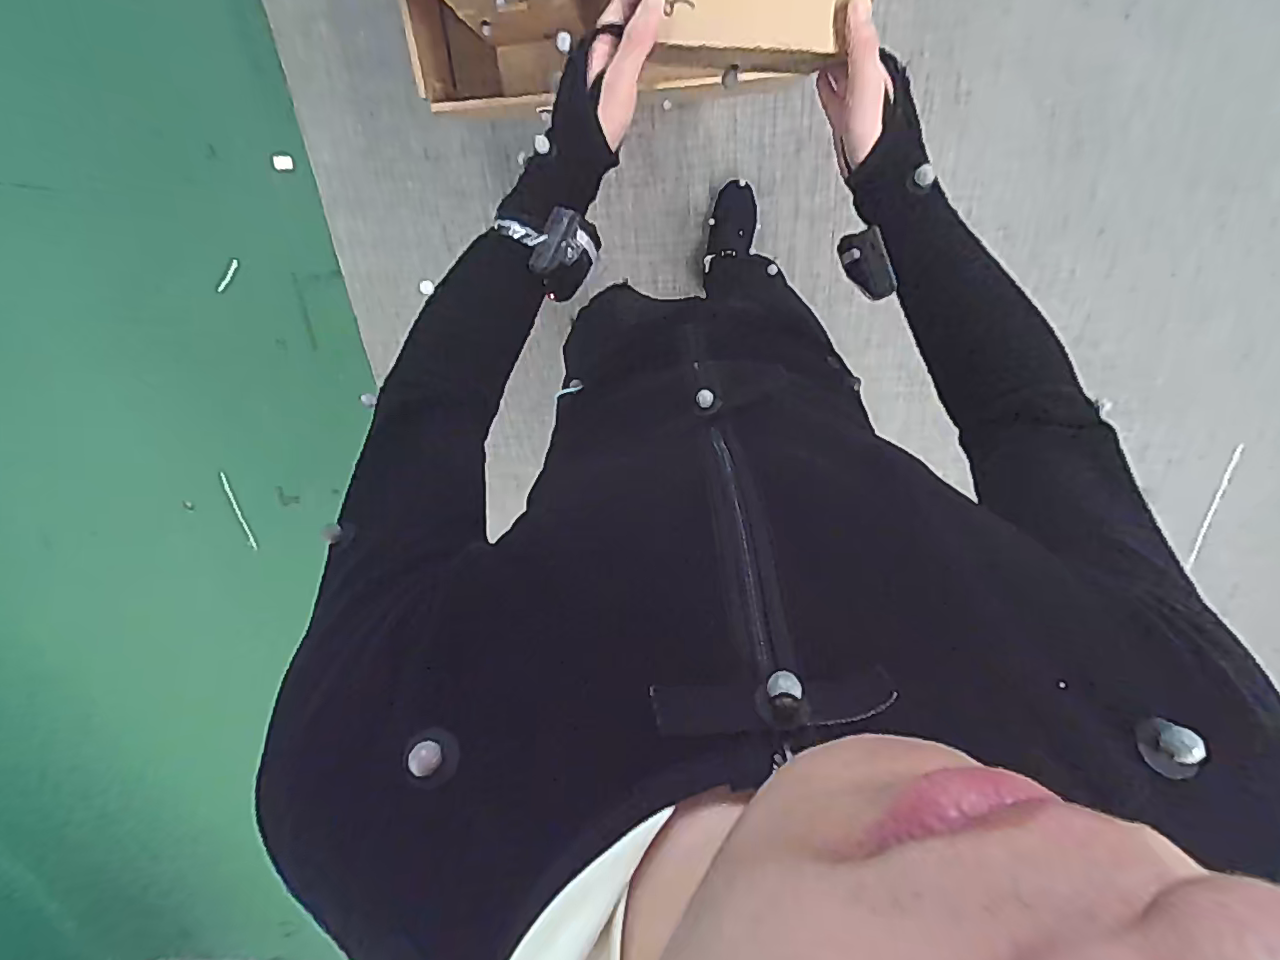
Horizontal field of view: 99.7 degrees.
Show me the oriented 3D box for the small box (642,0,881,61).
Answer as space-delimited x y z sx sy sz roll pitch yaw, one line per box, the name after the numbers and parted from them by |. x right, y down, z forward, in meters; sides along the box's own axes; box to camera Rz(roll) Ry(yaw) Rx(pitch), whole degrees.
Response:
0.095 -0.451 0.433 0.179 0.176 0.168 2 122 -2 | small box
